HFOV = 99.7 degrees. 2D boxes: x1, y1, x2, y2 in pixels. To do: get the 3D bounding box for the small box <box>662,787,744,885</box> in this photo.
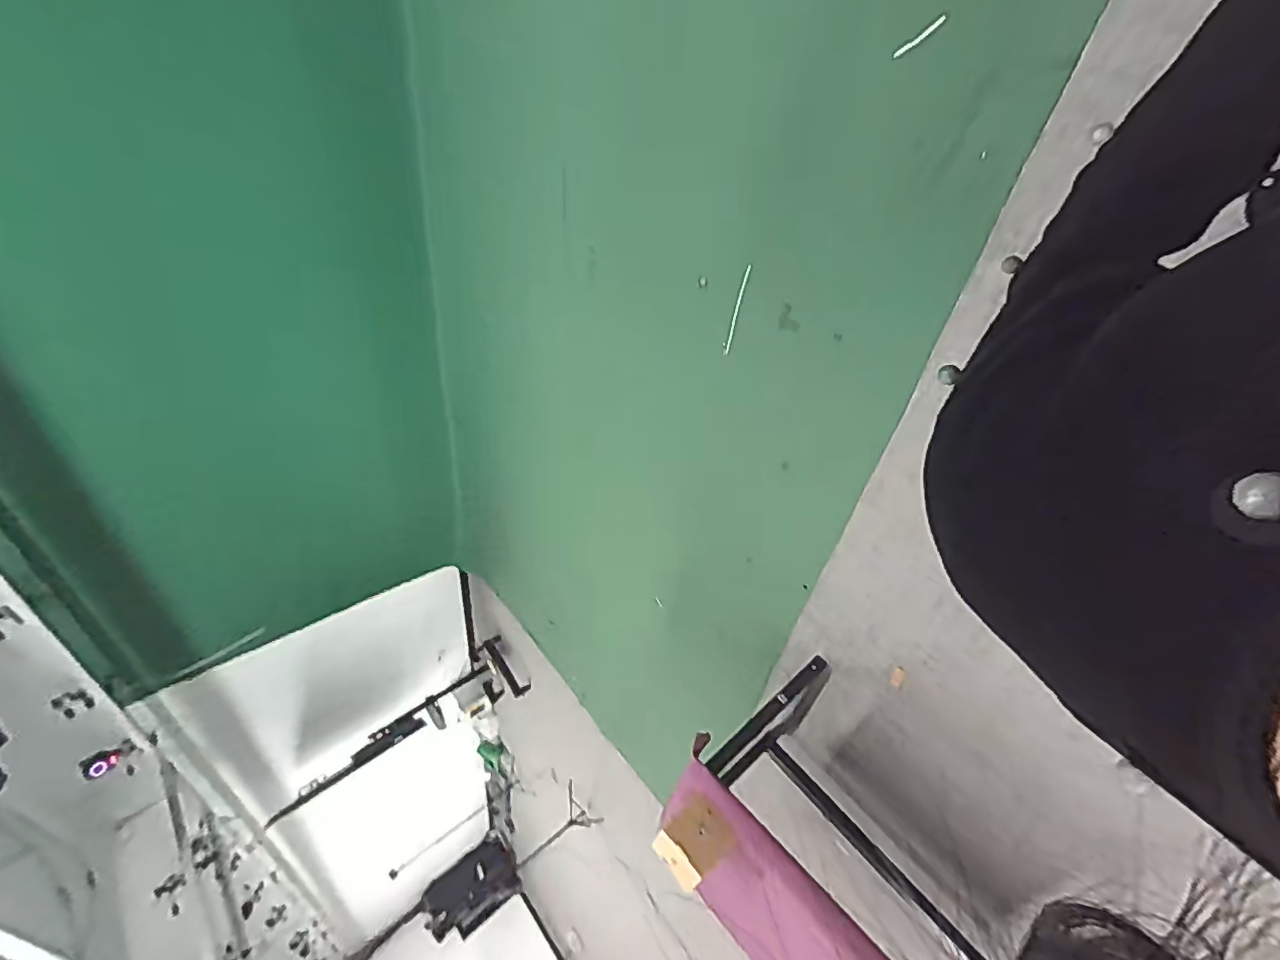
[{"bbox_3d":[0.197,1.098,1.677,0.168,0.176,0.179,43,138,29],"label":"small box"}]
